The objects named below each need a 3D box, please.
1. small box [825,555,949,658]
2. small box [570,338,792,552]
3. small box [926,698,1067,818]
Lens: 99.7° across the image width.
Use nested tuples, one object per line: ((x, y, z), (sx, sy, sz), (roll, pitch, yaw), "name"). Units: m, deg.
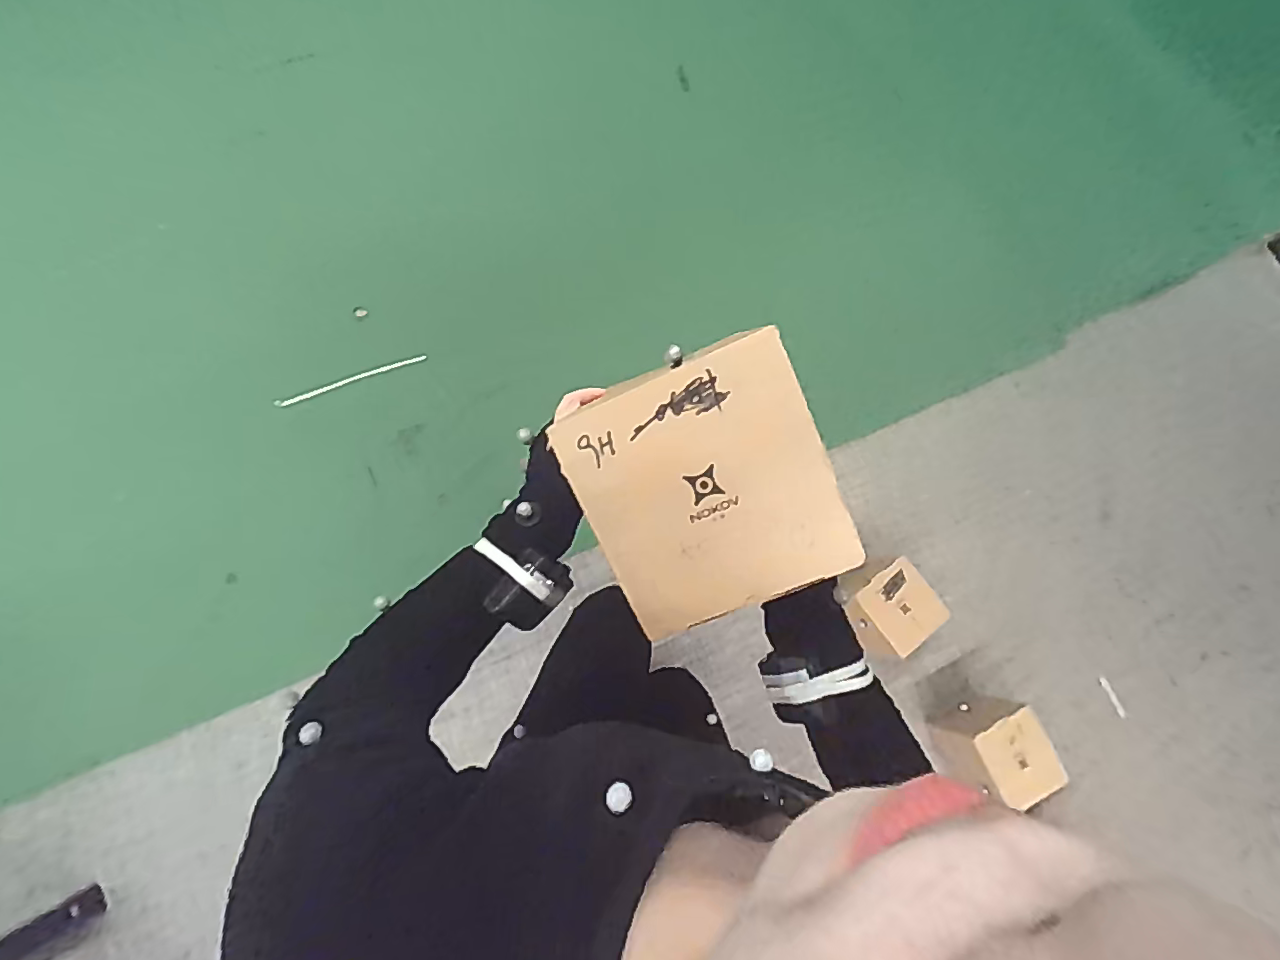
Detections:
((0.583, 0.306, 1.302), (0.168, 0.176, 0.179), (-34, 83, -13), "small box")
((0.047, -0.046, 0.597), (0.179, 0.176, 0.168), (-20, 102, 9), "small box")
((0.810, 0.628, 1.247), (0.168, 0.176, 0.179), (-21, 79, -12), "small box")
